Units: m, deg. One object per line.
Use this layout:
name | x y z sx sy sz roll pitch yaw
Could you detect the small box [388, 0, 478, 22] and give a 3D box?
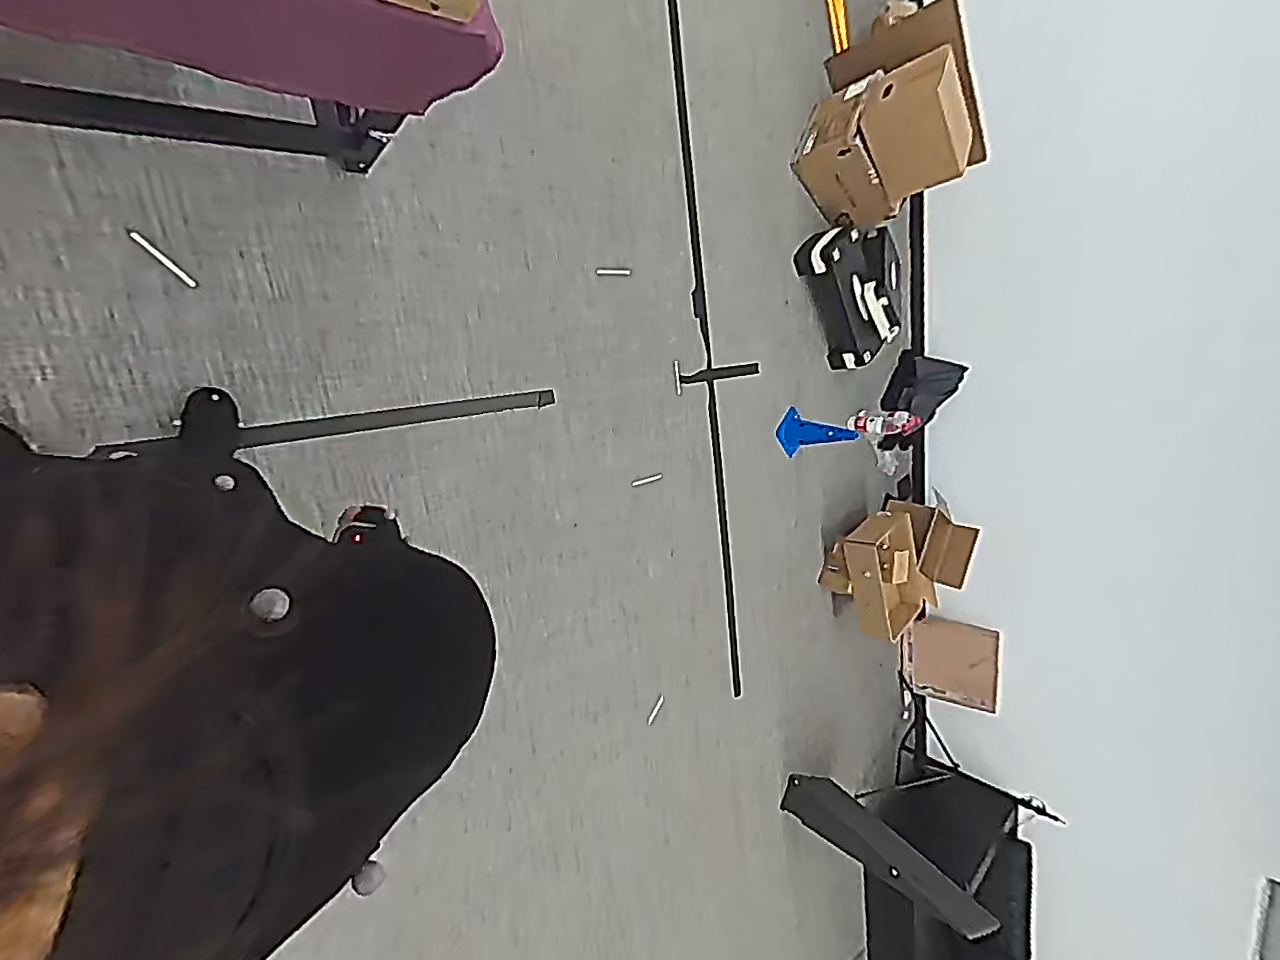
small box | -0.303 -0.793 0.741 0.168 0.176 0.179 -16 105 -36
